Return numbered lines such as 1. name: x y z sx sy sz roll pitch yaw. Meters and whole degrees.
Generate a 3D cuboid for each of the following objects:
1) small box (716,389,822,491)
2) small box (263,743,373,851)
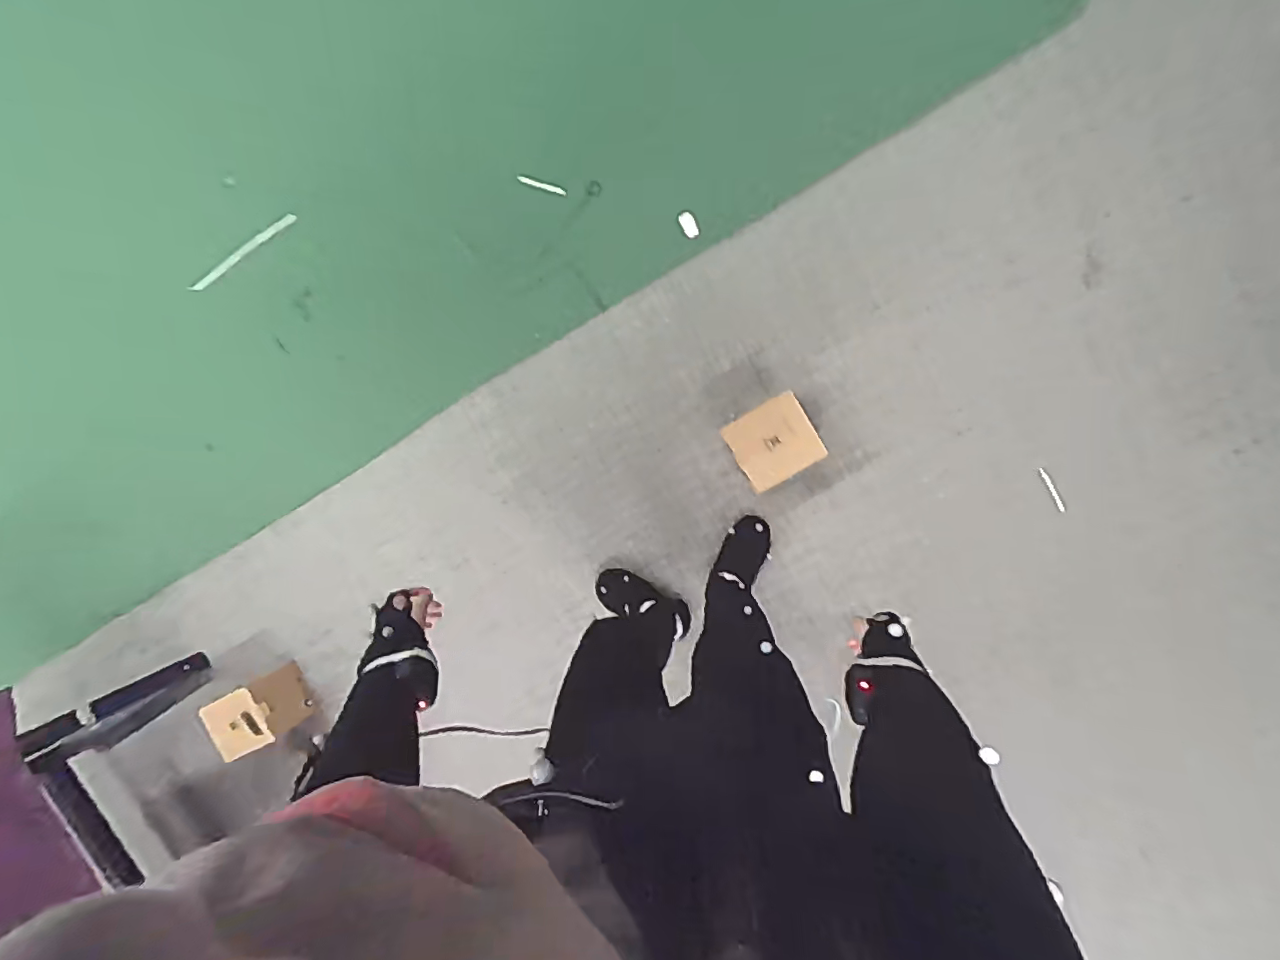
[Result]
1. small box: 0.291 -0.093 1.243 0.179 0.176 0.168 -29 93 10
2. small box: -0.909 0.898 1.543 0.168 0.176 0.179 -30 91 11
